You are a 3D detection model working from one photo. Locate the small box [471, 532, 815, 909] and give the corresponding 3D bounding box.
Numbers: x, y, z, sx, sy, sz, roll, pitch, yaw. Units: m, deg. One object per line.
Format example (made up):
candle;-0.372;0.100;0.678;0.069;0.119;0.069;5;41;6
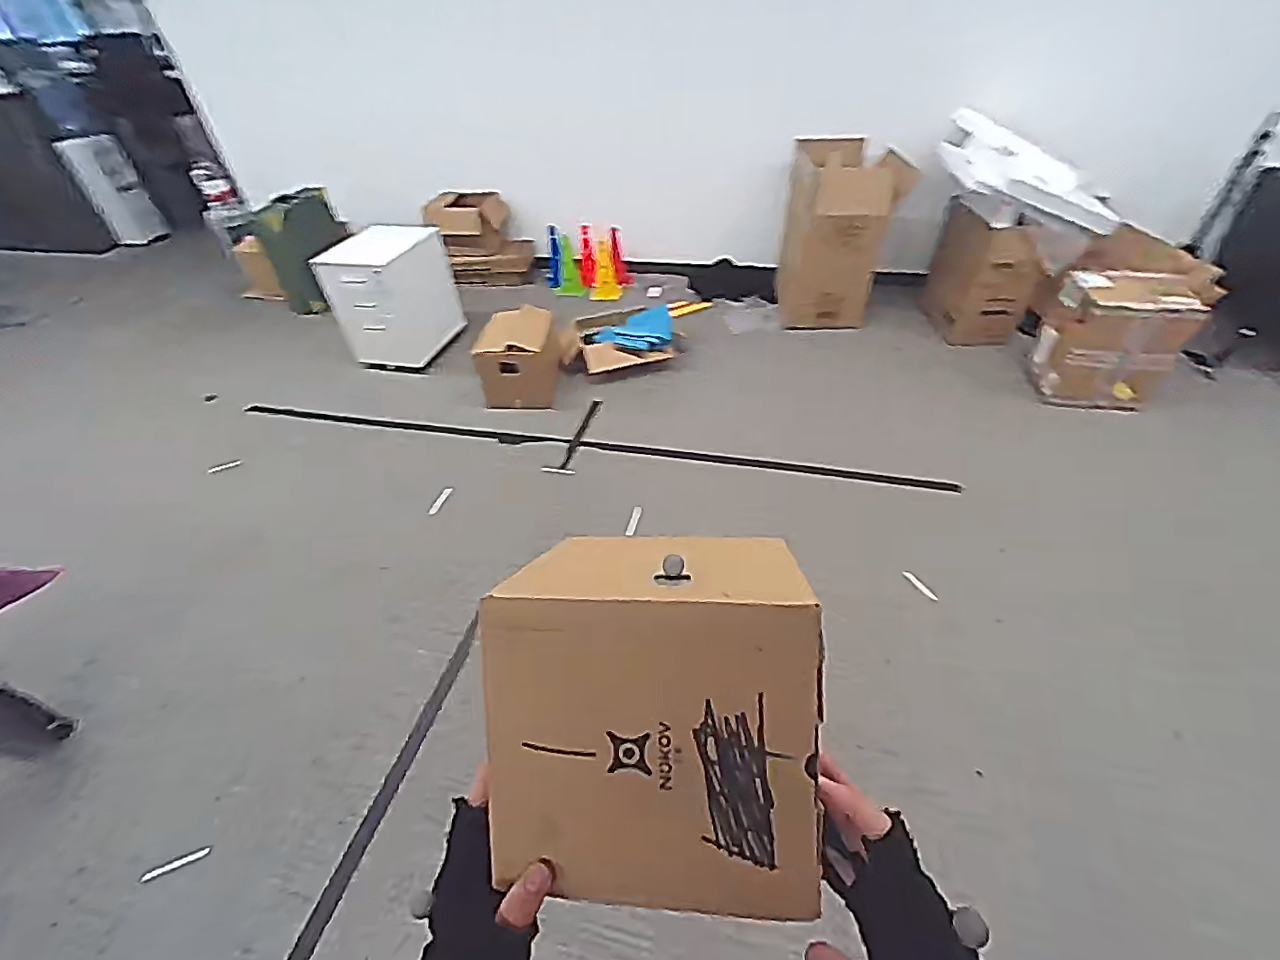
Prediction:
small box;0.010;0.128;0.354;0.179;0.168;0.176;-1;4;9
